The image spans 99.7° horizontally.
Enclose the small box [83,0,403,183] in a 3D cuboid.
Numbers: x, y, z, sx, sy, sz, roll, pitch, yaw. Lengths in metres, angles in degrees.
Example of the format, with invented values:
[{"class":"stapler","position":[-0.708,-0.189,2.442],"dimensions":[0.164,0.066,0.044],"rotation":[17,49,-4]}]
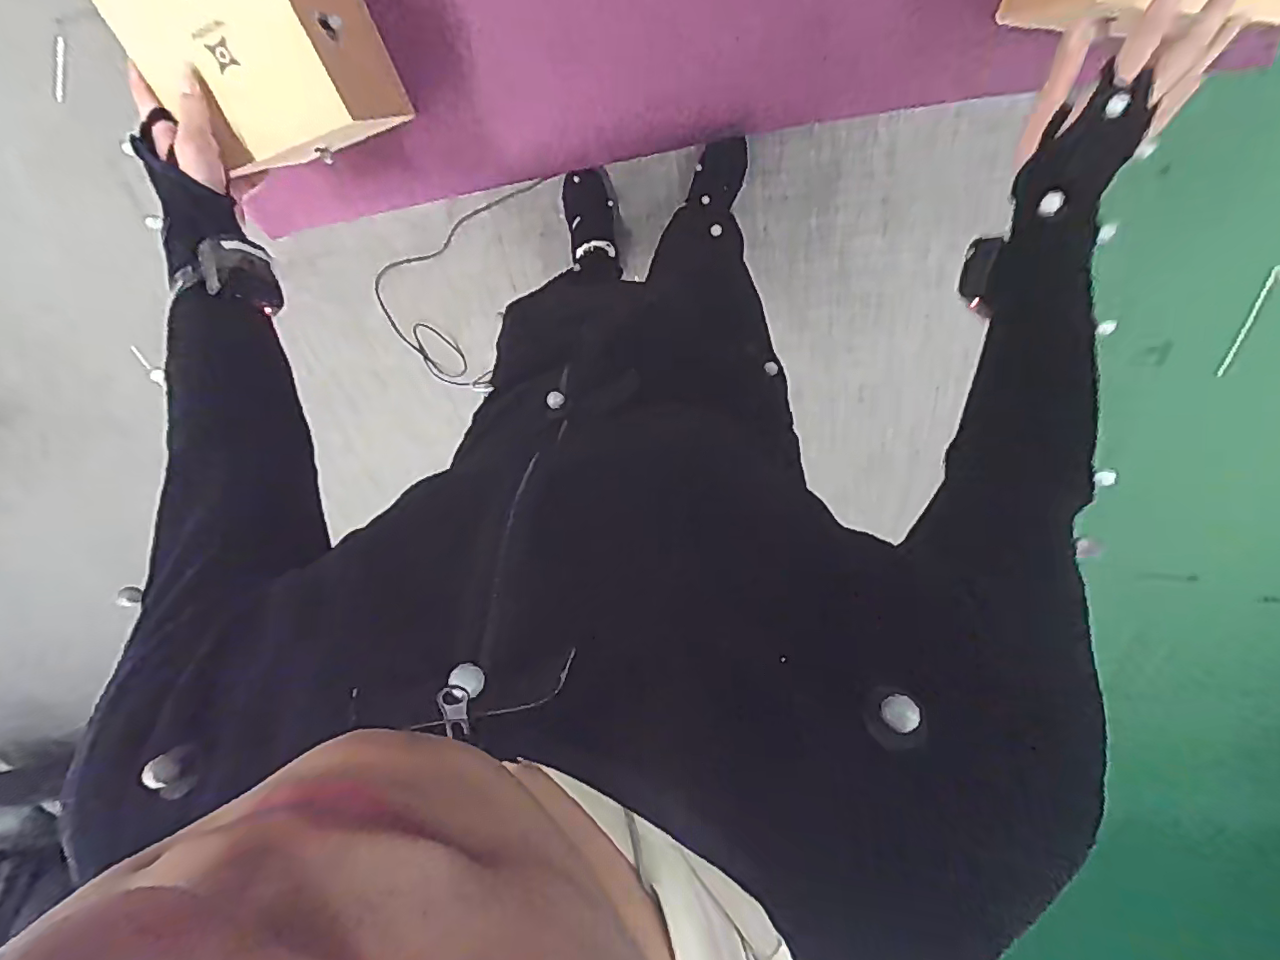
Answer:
[{"class":"small box","position":[-0.373,-0.426,0.537],"dimensions":[0.168,0.176,0.179],"rotation":[-13,125,11]}]

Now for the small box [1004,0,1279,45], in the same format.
[{"class":"small box","position":[0.459,-0.497,0.465],"dimensions":[0.168,0.176,0.179],"rotation":[5,125,-1]}]
